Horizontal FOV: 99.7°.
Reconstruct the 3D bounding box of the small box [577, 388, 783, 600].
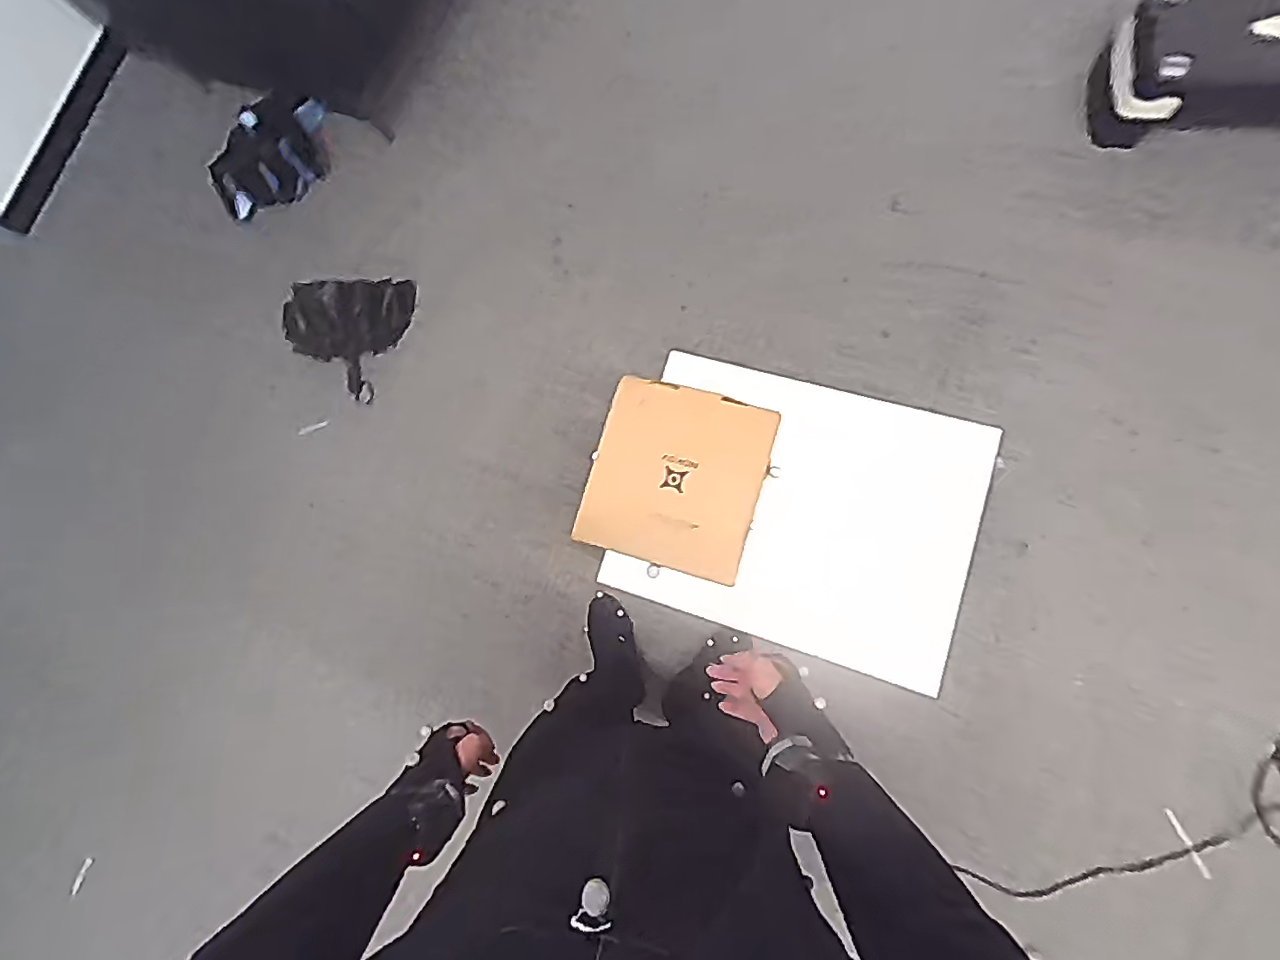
[{"bbox_3d":[0.052,0.022,0.599,0.168,0.176,0.179,15,83,14],"label":"small box"}]
